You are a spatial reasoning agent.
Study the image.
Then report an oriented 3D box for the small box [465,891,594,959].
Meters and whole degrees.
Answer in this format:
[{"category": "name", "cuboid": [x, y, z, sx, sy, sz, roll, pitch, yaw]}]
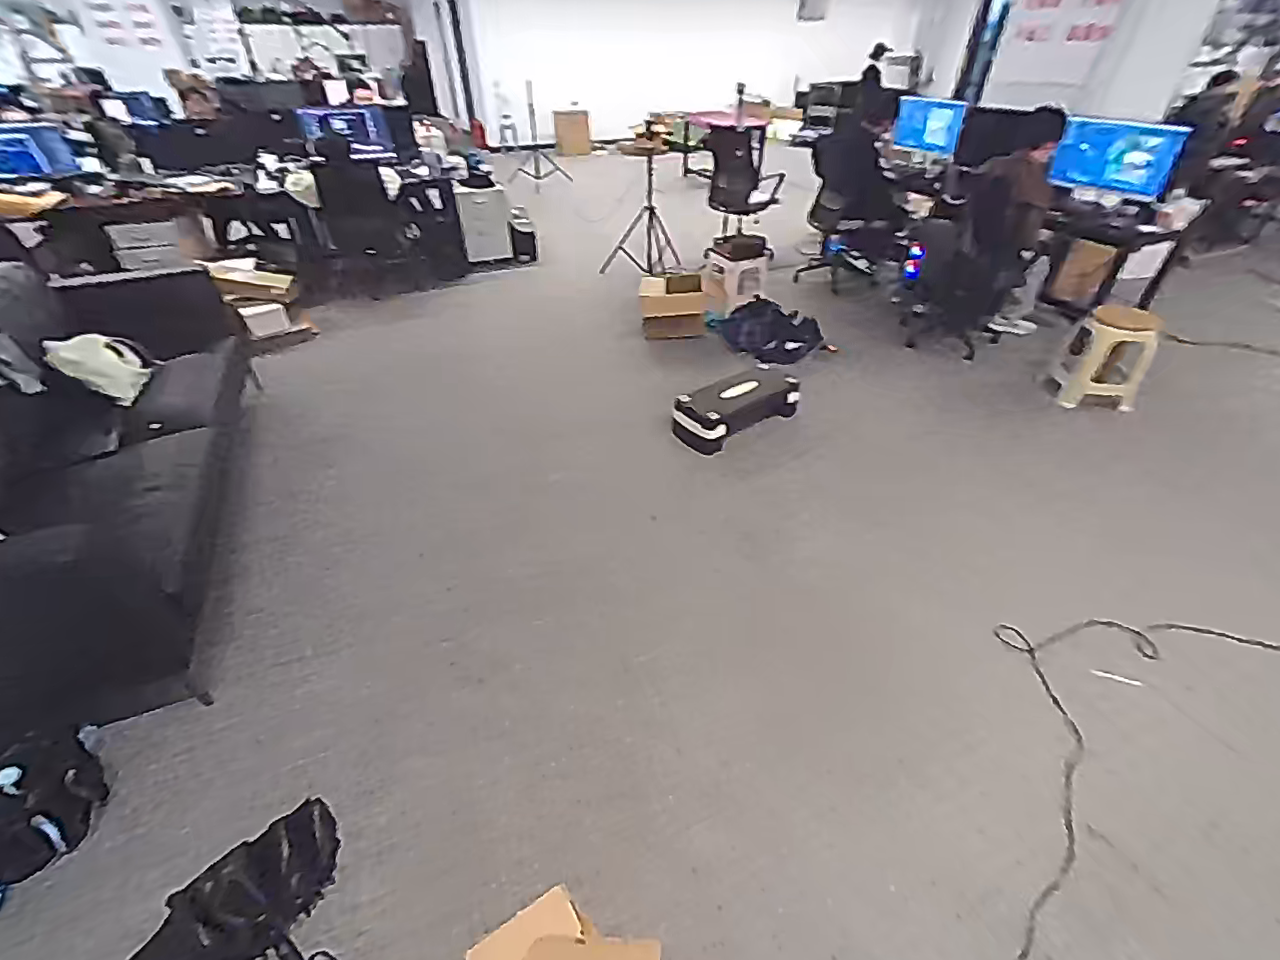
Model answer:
[{"category": "small box", "cuboid": [-0.160, 0.824, 0.872, 0.179, 0.176, 0.168, -23, 41, -24]}]
